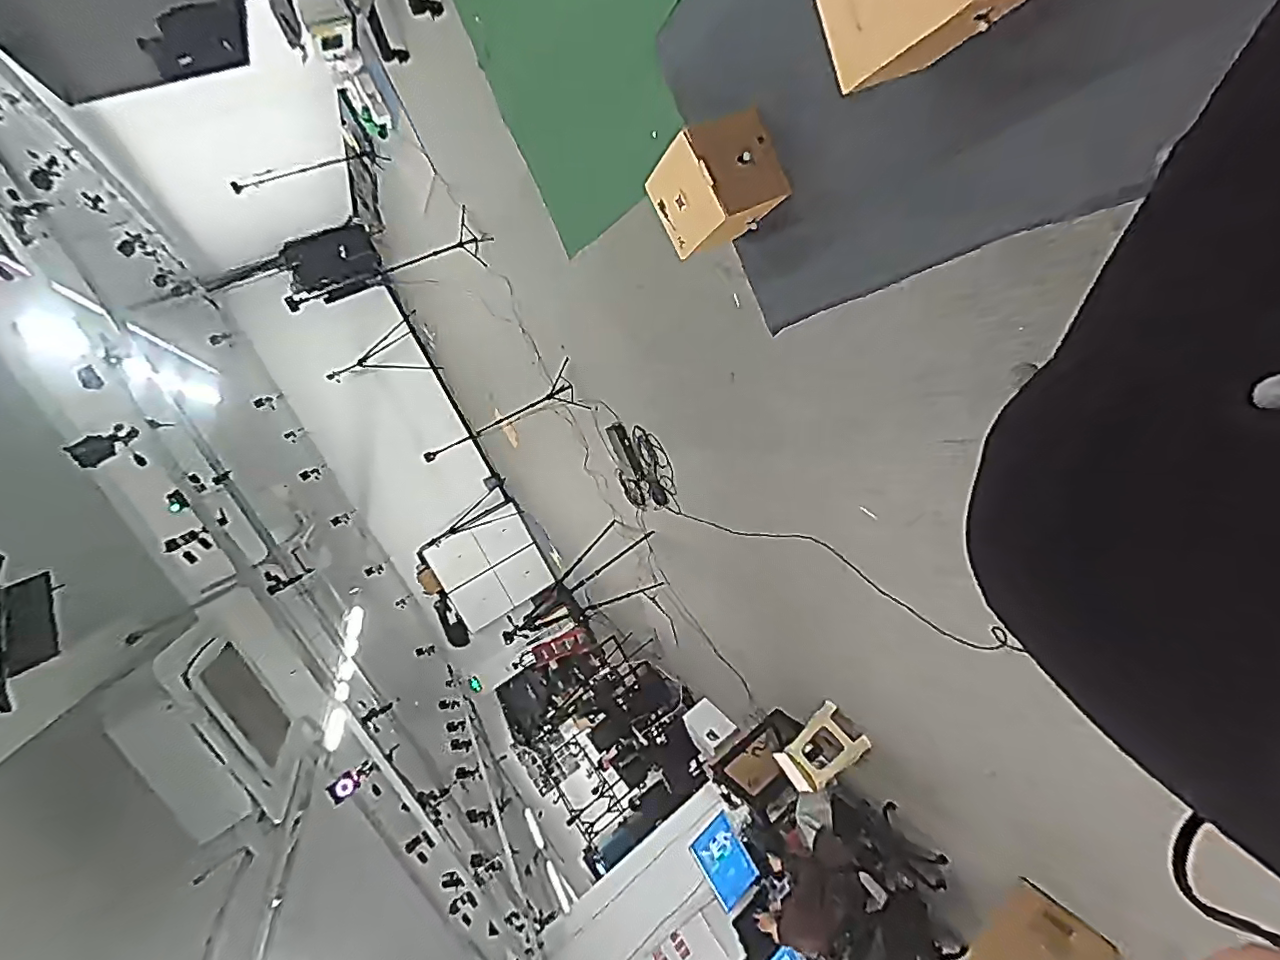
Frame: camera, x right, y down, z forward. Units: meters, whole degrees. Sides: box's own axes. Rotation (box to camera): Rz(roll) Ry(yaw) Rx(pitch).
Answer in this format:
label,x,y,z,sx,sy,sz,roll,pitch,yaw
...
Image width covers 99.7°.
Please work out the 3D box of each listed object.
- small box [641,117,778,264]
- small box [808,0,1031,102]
label,x,y,z,sx,sy,sz,roll,pitch,yaw
small box,0.137,-0.549,1.031,0.168,0.176,0.179,62,157,-8
small box,0.318,-0.575,0.606,0.179,0.176,0.168,10,126,64
